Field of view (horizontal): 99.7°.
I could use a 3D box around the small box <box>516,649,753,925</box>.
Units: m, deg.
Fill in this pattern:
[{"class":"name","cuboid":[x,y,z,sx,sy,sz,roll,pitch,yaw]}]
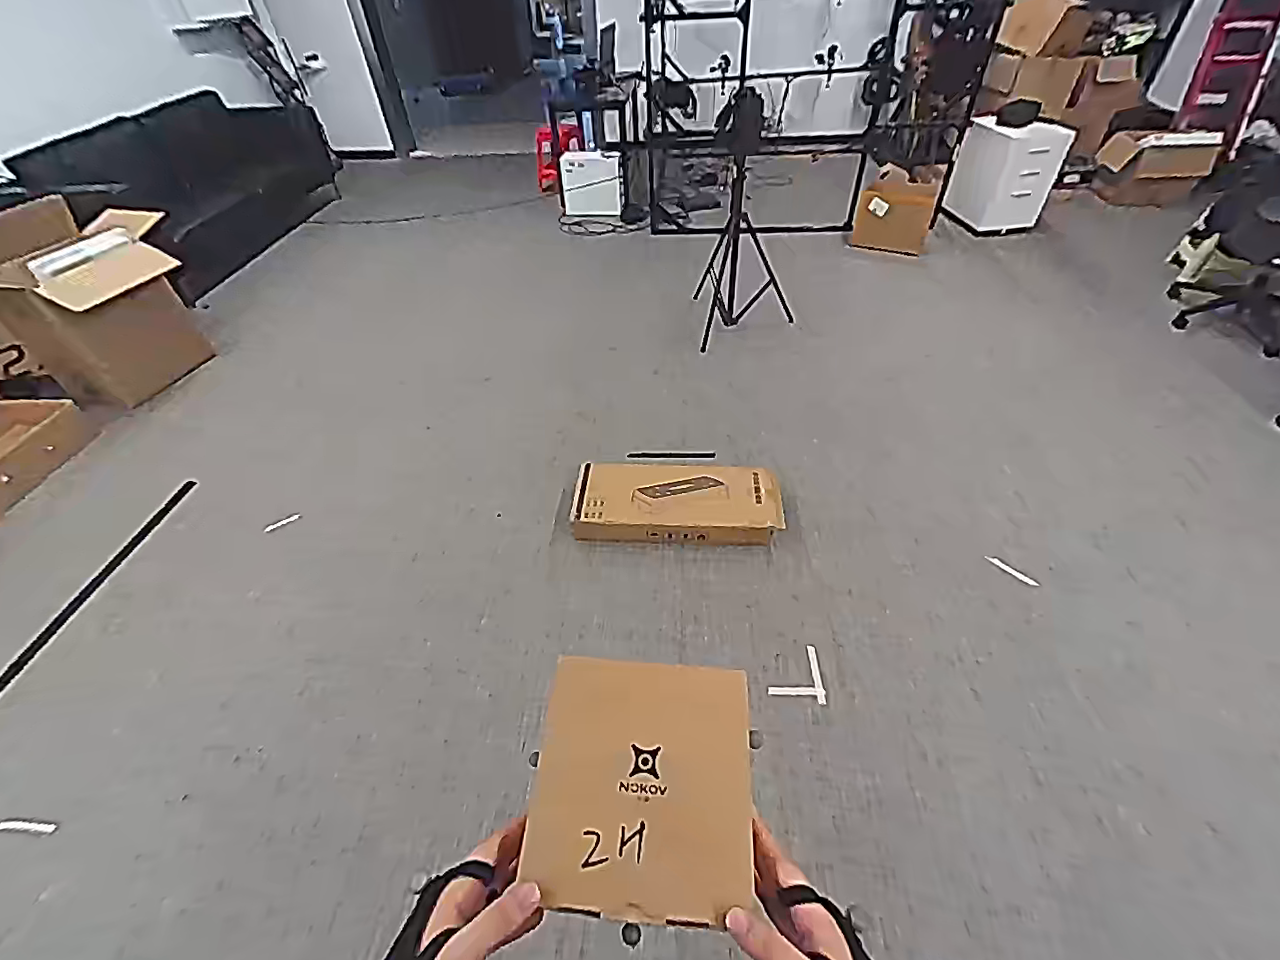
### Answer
[{"class":"small box","cuboid":[0.003,0.272,0.479,0.168,0.176,0.179,3,51,4]}]
